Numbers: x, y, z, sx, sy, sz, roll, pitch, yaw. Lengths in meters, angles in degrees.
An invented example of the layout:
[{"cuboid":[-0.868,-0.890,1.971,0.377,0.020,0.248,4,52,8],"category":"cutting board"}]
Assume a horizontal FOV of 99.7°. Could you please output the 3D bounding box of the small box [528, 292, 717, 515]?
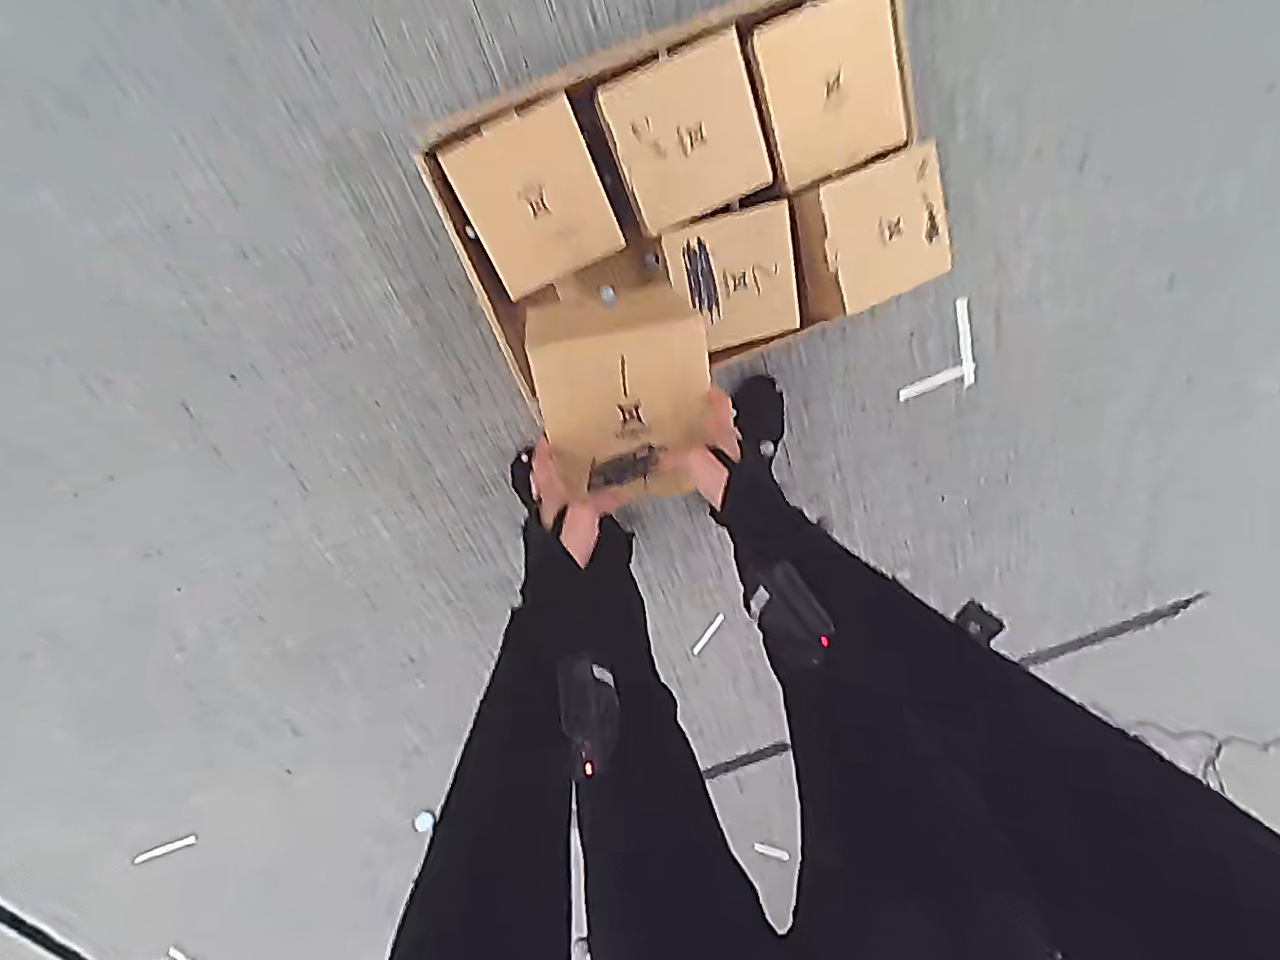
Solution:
[{"cuboid":[-0.020,-0.090,0.585,0.168,0.176,0.179,-11,120,-5],"category":"small box"}]
